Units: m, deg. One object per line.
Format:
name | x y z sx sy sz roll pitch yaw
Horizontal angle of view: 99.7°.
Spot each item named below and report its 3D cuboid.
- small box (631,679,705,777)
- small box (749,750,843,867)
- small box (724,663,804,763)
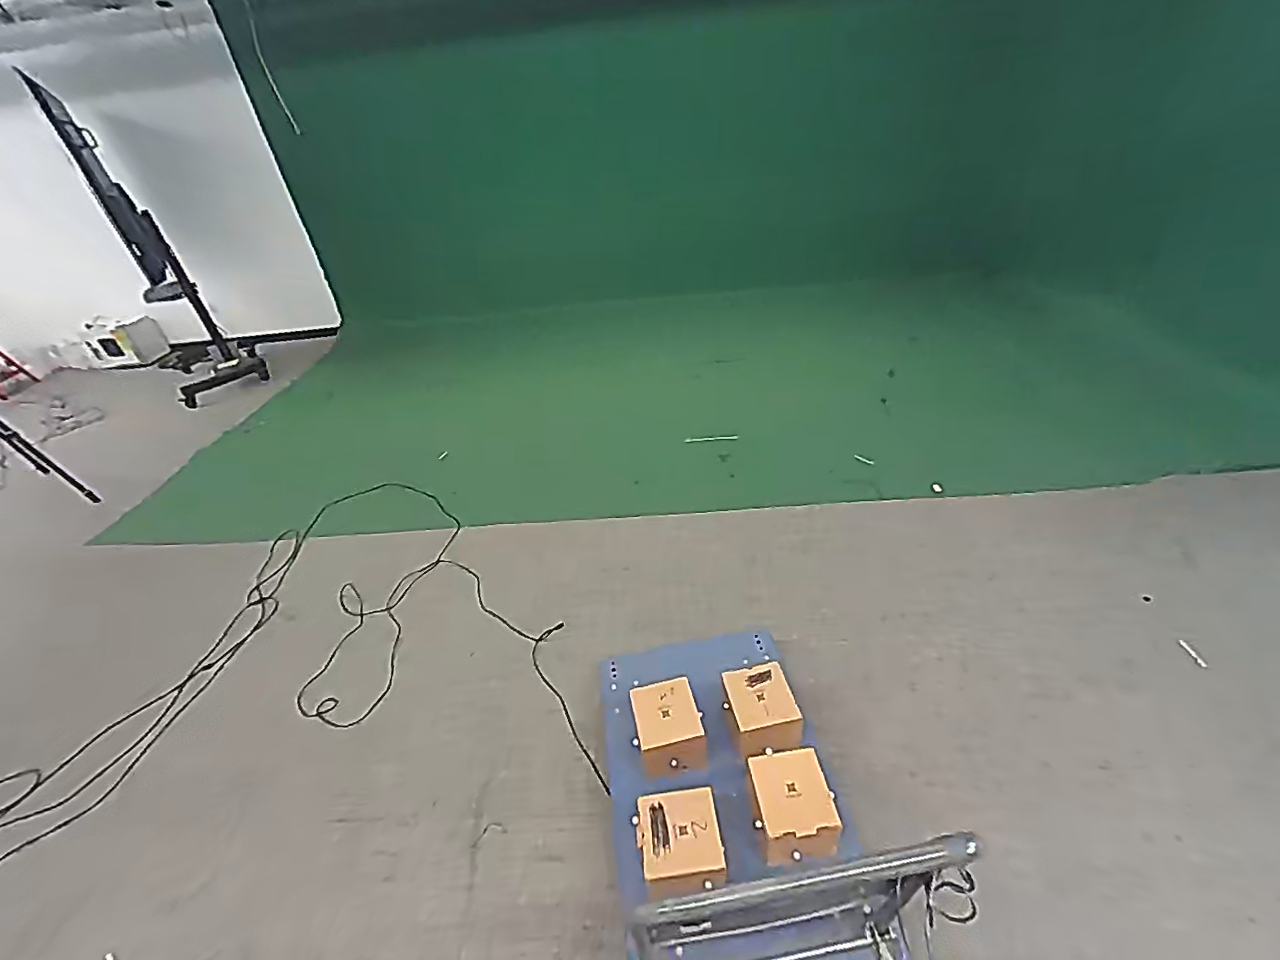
small box | 0.077 0.678 1.466 0.168 0.176 0.179 -11 36 -6
small box | 0.359 0.778 1.283 0.168 0.176 0.179 -8 37 -2
small box | 0.330 0.637 1.477 0.168 0.176 0.179 -11 37 -4
